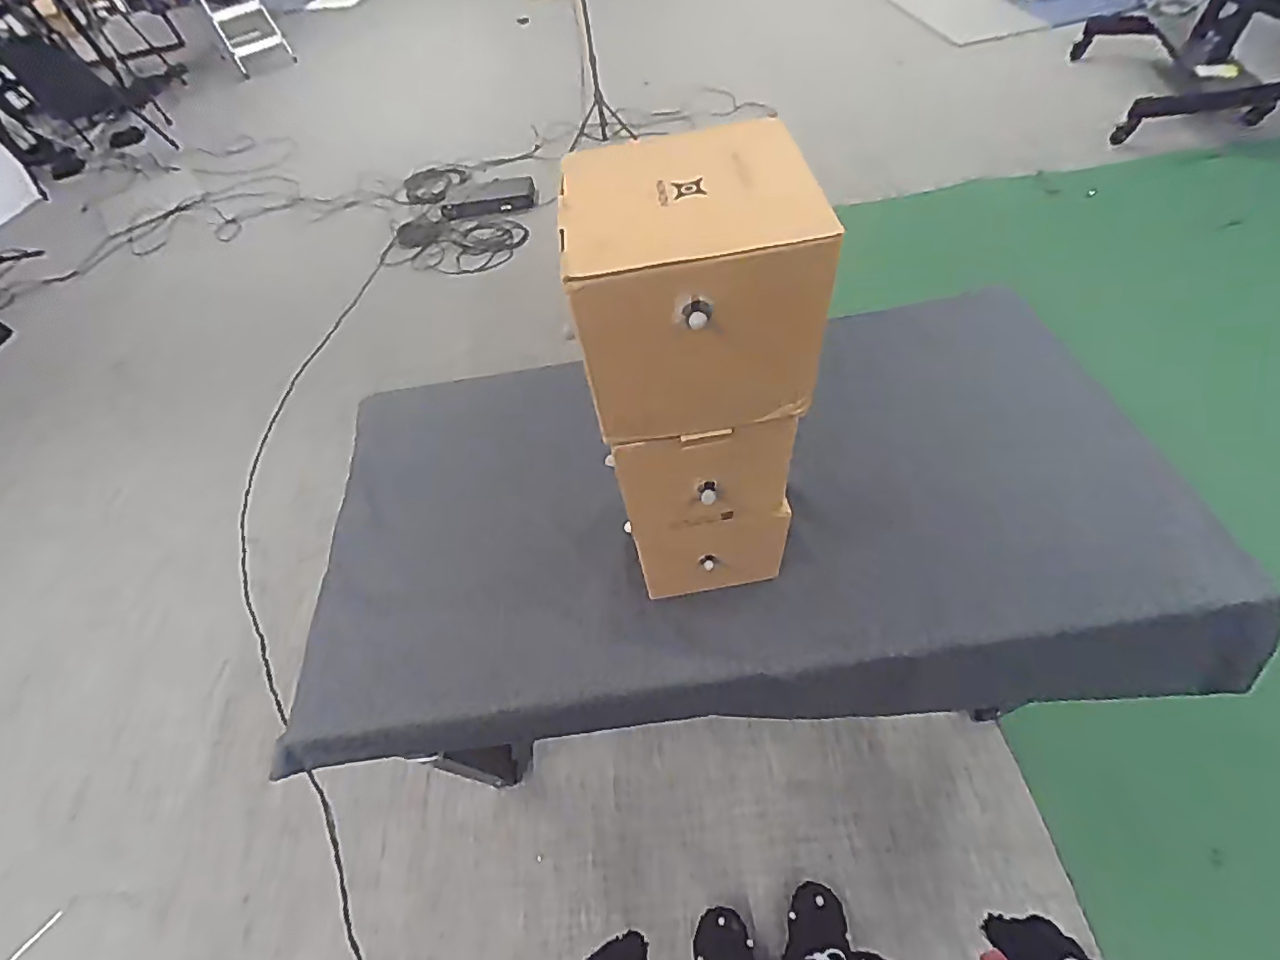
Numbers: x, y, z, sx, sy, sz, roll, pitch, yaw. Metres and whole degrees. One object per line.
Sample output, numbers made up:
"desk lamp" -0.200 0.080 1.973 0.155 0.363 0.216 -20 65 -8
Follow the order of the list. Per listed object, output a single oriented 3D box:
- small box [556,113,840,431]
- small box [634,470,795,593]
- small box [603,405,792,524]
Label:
"small box" 0.037 -0.155 0.434 0.179 0.176 0.168 -8 56 2
"small box" 0.079 0.028 0.701 0.179 0.176 0.168 -12 55 -2
"small box" 0.051 -0.067 0.571 0.168 0.176 0.179 -10 55 1
